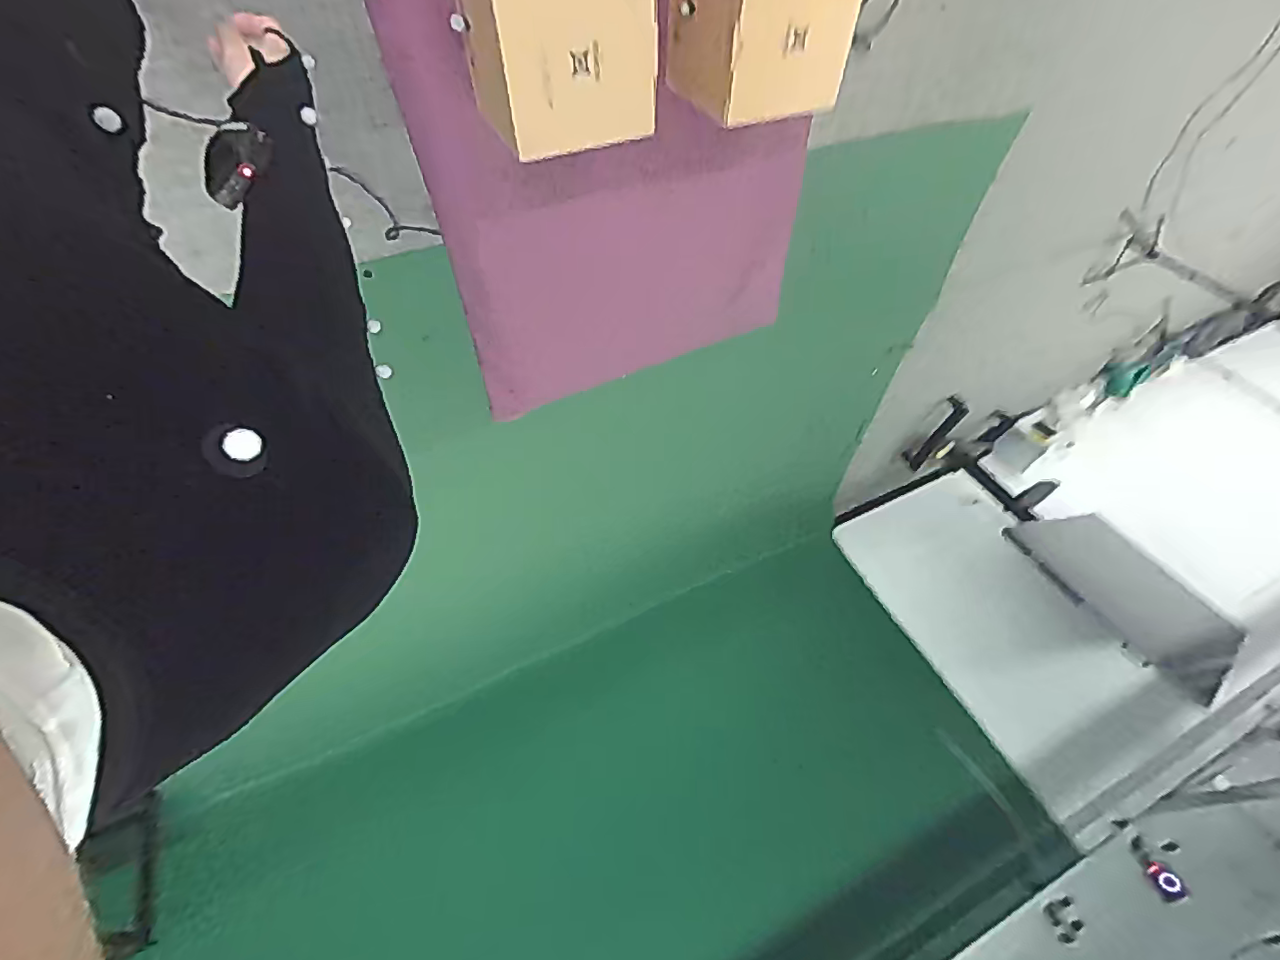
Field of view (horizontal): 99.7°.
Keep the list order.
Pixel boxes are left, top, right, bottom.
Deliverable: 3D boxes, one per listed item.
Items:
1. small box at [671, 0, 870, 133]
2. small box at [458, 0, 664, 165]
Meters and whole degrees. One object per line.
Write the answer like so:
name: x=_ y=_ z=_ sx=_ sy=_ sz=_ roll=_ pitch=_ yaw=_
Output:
small box: x=0.158 y=-0.575 z=0.686 sx=0.179 sy=0.176 sz=0.168 roll=-19 pitch=146 yaw=-15
small box: x=-0.090 y=-0.487 z=0.606 sx=0.179 sy=0.176 sz=0.168 roll=-21 pitch=145 yaw=-16
